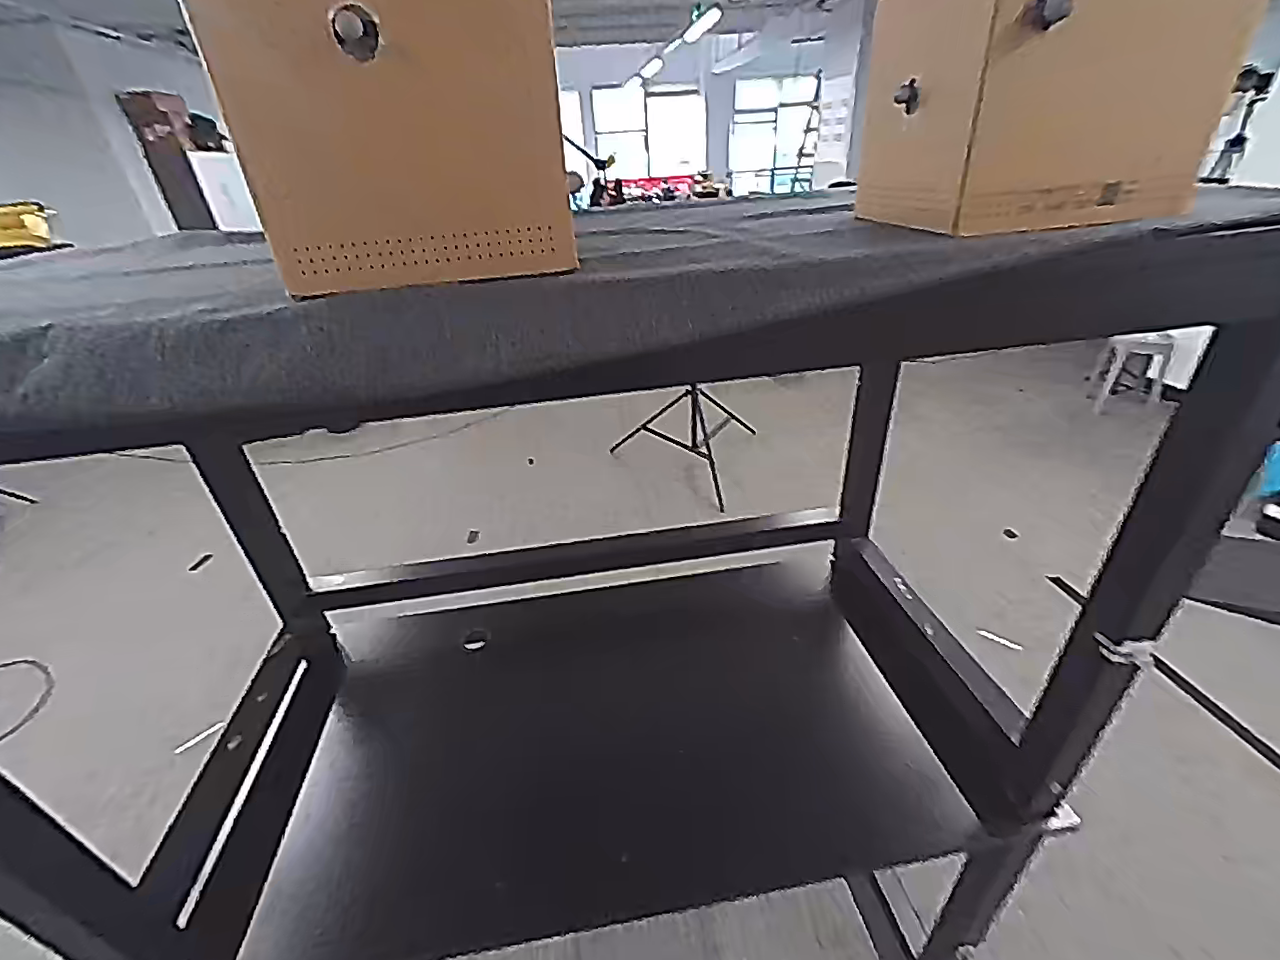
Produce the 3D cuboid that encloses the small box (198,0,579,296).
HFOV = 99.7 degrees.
[{"bbox_3d":[-0.144,-0.228,0.368,0.179,0.176,0.168,-9,29,-8],"label":"small box"}]
